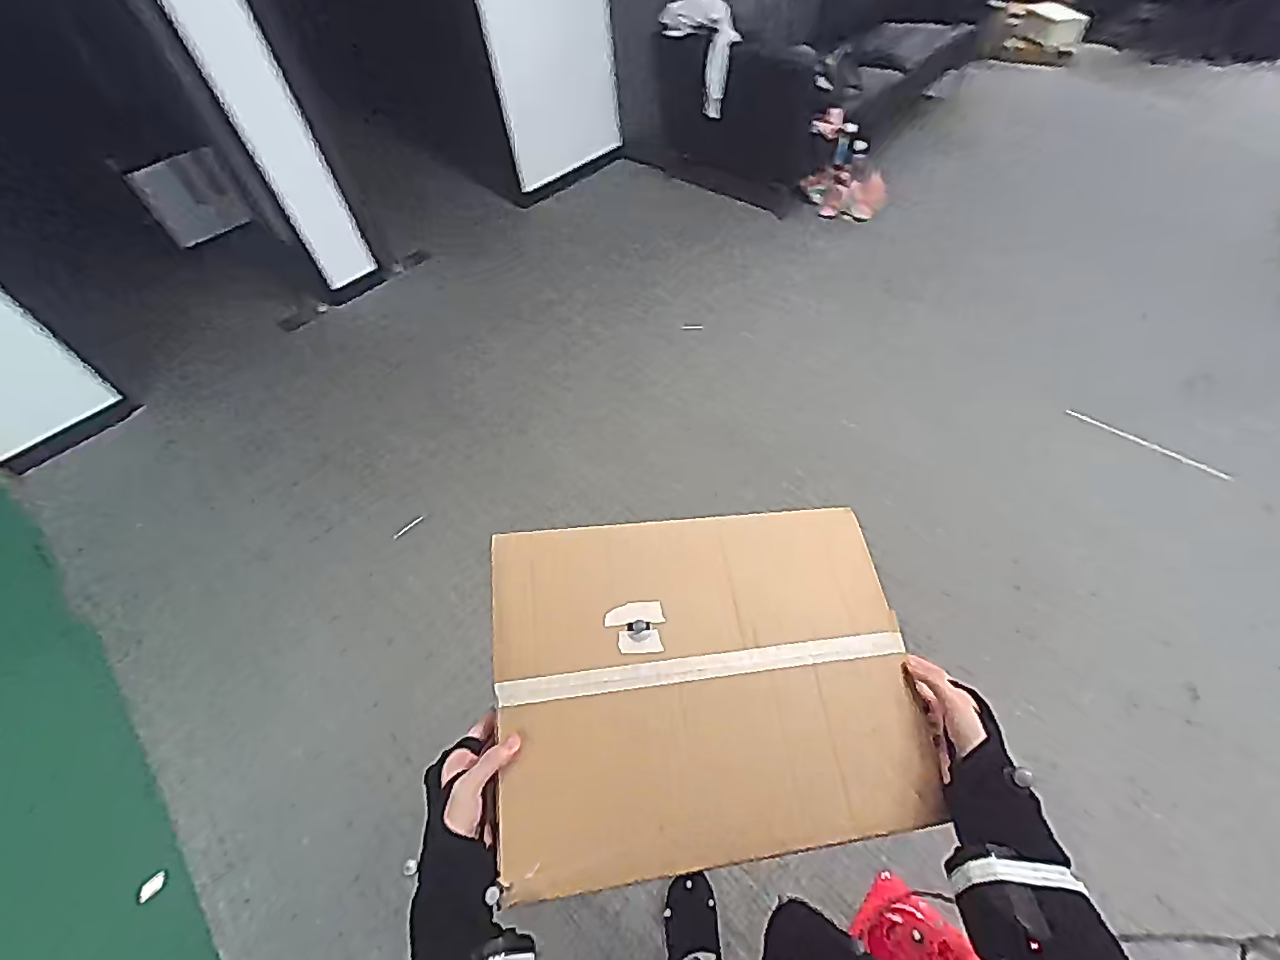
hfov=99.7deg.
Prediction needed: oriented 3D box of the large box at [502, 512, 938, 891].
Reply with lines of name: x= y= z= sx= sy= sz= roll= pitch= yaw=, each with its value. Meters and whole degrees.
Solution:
large box: x=0.054 y=0.252 z=0.671 sx=0.408 sy=0.320 sz=0.320 roll=-3 pitch=64 yaw=-9
